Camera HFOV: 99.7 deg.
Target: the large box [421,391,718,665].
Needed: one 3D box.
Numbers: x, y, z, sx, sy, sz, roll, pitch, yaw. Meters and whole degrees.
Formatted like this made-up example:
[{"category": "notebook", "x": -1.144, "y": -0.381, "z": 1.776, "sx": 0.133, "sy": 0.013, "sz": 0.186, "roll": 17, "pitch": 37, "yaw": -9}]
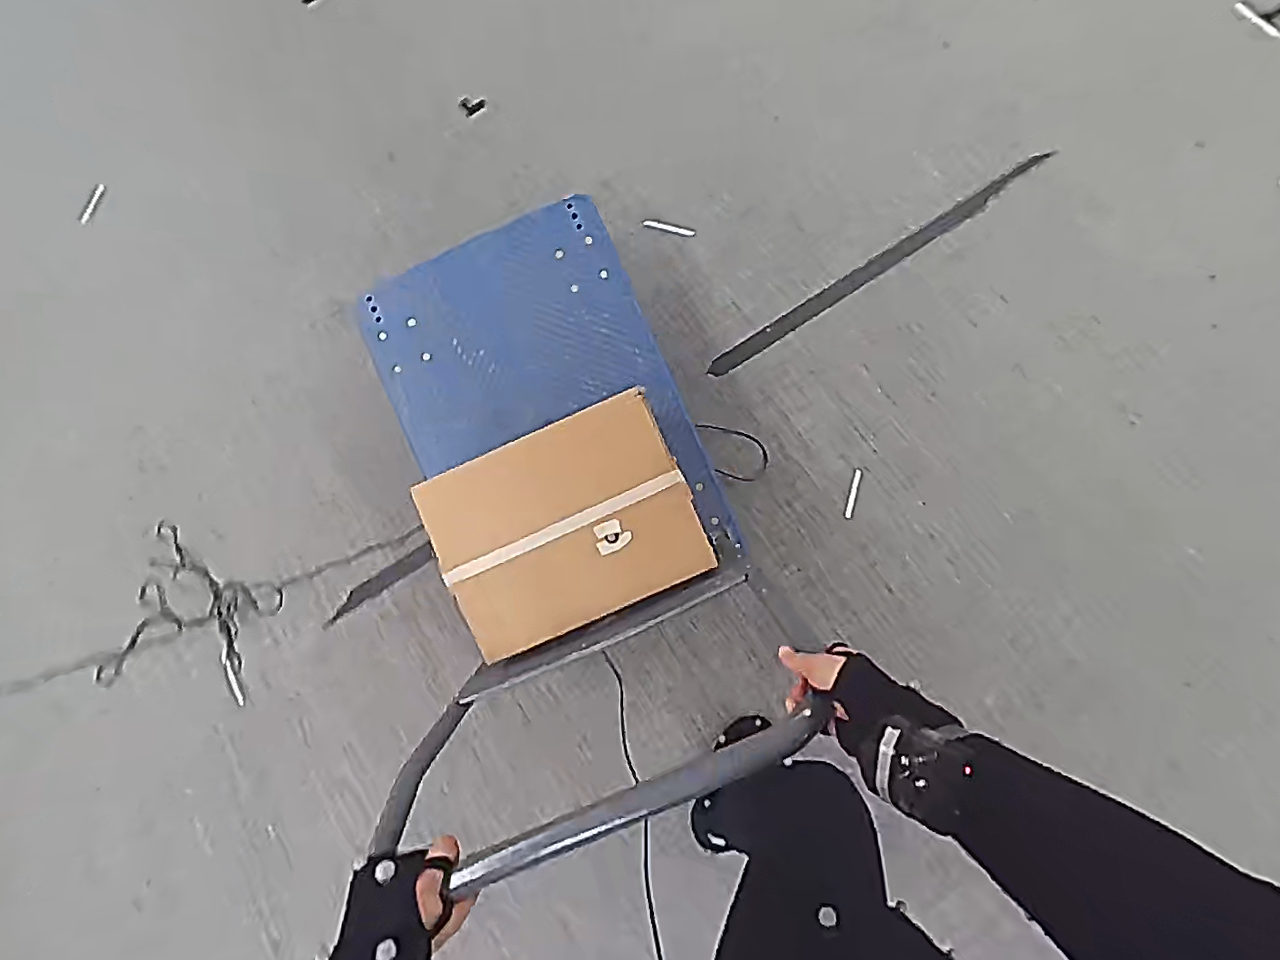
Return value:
[{"category": "large box", "x": -0.113, "y": 0.081, "z": 1.013, "sx": 0.408, "sy": 0.320, "sz": 0.320, "roll": -25, "pitch": 90, "yaw": 1}]
